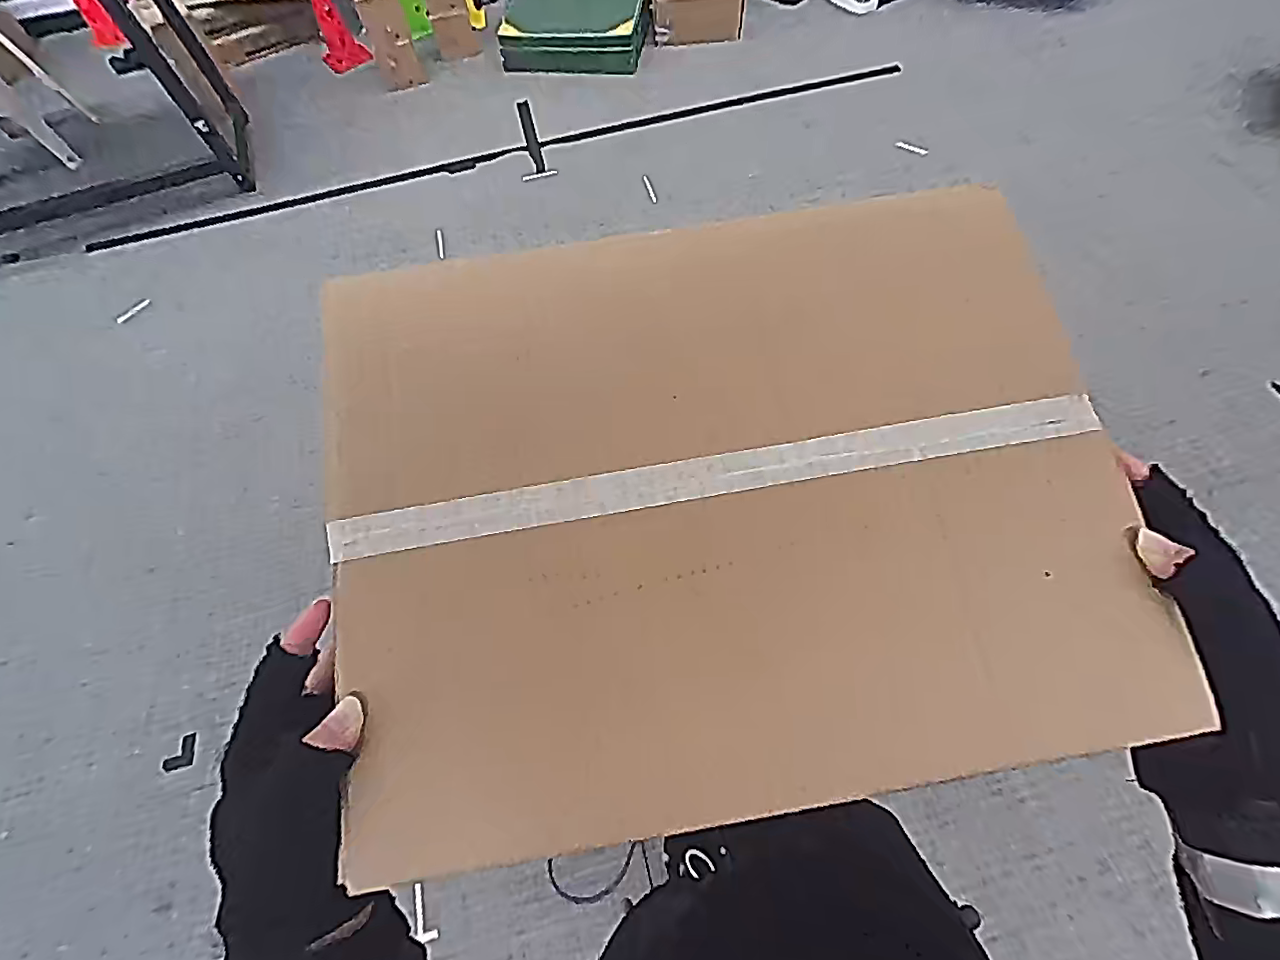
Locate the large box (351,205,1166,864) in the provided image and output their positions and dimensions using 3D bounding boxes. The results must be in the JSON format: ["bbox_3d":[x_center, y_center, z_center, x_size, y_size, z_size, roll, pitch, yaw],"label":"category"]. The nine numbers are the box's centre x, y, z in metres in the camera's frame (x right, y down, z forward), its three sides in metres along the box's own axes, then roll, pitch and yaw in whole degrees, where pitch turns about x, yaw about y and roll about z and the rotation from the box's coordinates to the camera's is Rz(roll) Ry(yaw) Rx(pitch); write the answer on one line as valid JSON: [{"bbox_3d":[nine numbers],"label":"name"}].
[{"bbox_3d":[0.043,0.042,0.444,0.408,0.320,0.320,-10,76,-2],"label":"large box"}]
